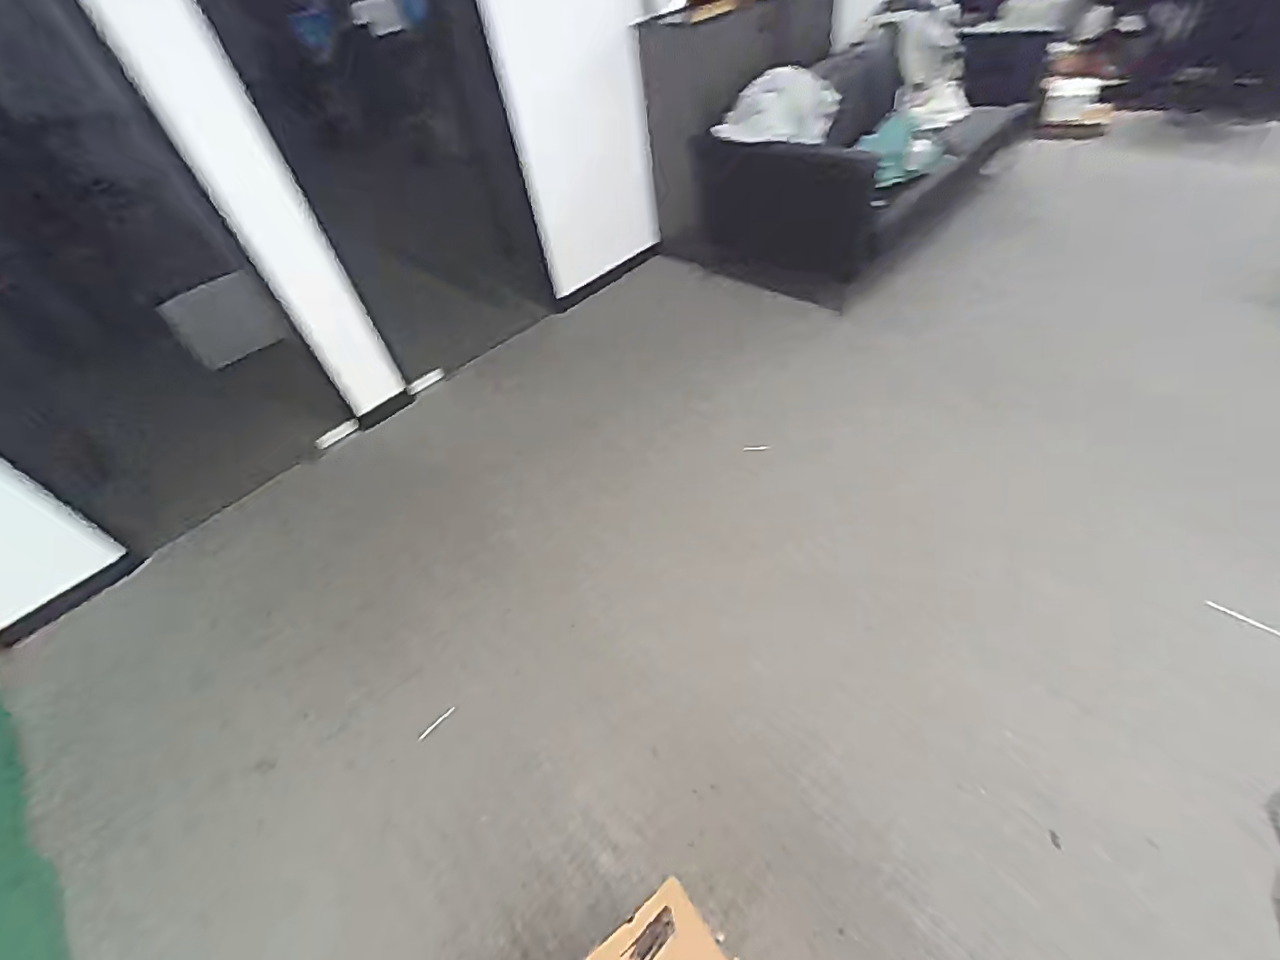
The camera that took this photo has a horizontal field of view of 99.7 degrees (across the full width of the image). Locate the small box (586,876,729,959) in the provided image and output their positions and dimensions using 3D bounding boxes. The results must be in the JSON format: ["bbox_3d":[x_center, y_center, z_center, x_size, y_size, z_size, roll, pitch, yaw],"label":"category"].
[{"bbox_3d":[0.046,0.725,0.778,0.168,0.176,0.179,-32,51,-19],"label":"small box"}]
